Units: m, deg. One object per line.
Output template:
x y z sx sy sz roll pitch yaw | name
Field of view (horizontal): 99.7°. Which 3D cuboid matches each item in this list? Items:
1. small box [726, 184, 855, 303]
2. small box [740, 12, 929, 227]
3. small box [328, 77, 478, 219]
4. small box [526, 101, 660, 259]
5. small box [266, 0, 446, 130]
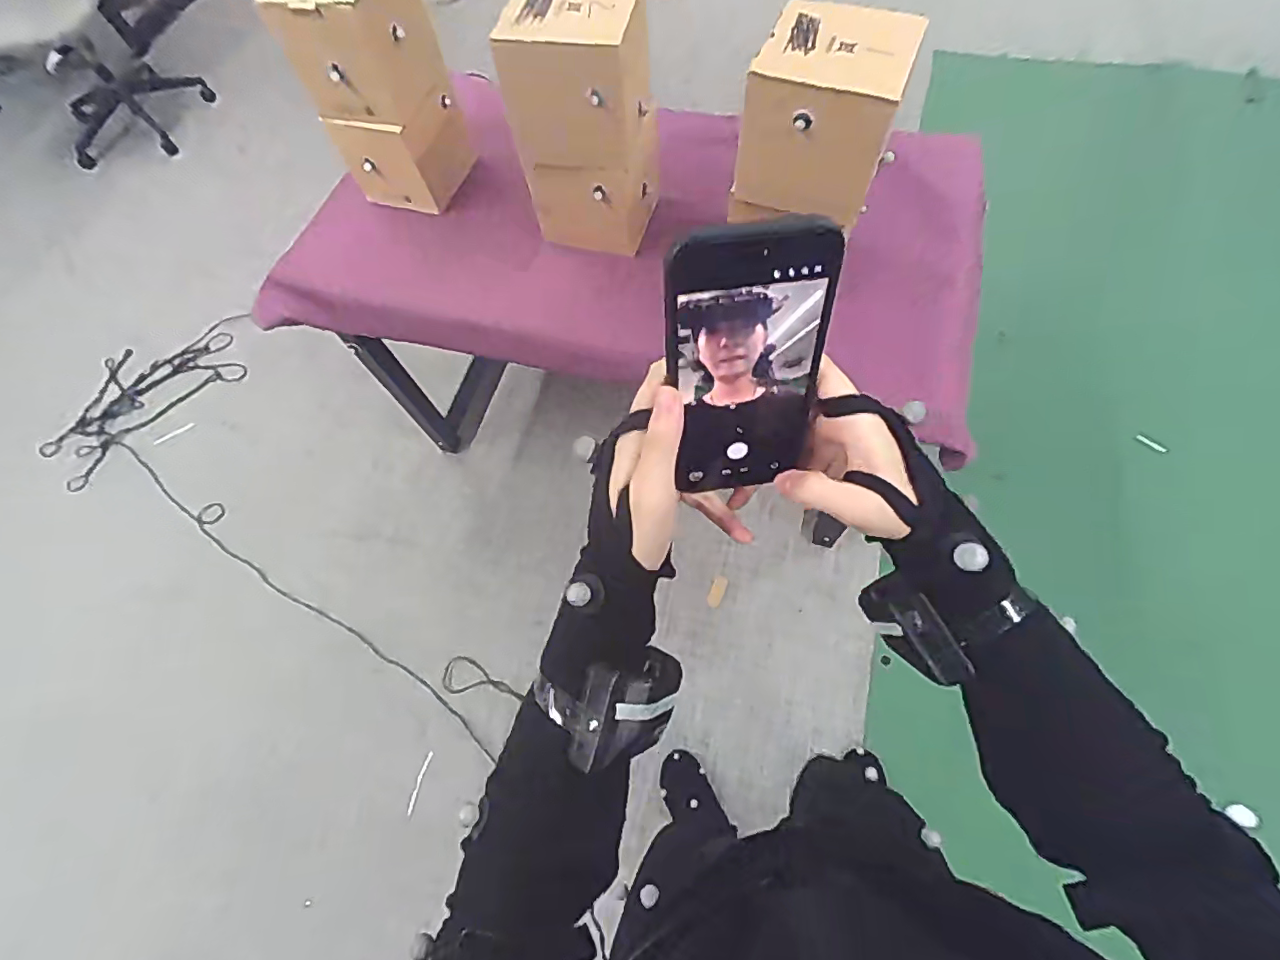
0.250 -0.413 0.867 0.179 0.176 0.168 21 68 14 | small box
0.242 -0.466 0.712 0.179 0.176 0.168 20 68 13 | small box
-0.432 -0.628 1.022 0.168 0.176 0.179 16 67 11 | small box
-0.068 -0.512 0.937 0.179 0.176 0.168 15 67 11 | small box
-0.442 -0.704 0.876 0.168 0.176 0.179 11 67 9 | small box
